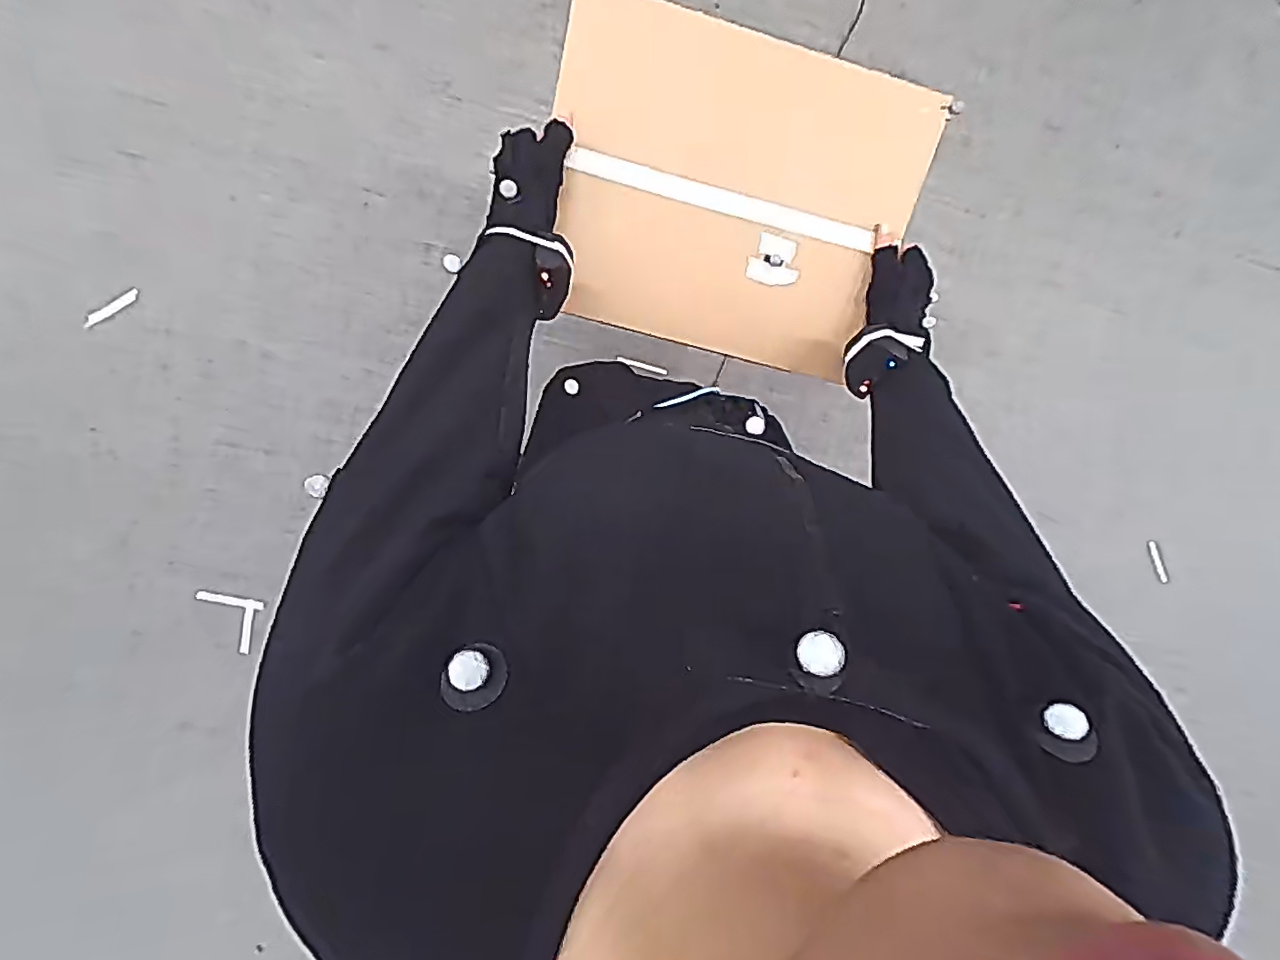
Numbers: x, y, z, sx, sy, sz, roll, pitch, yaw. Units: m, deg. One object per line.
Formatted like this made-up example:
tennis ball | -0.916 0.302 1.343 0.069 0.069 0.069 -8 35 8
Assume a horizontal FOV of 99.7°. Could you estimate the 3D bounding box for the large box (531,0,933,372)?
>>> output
large box | 0.087 -0.360 0.752 0.408 0.320 0.320 13 107 -7
